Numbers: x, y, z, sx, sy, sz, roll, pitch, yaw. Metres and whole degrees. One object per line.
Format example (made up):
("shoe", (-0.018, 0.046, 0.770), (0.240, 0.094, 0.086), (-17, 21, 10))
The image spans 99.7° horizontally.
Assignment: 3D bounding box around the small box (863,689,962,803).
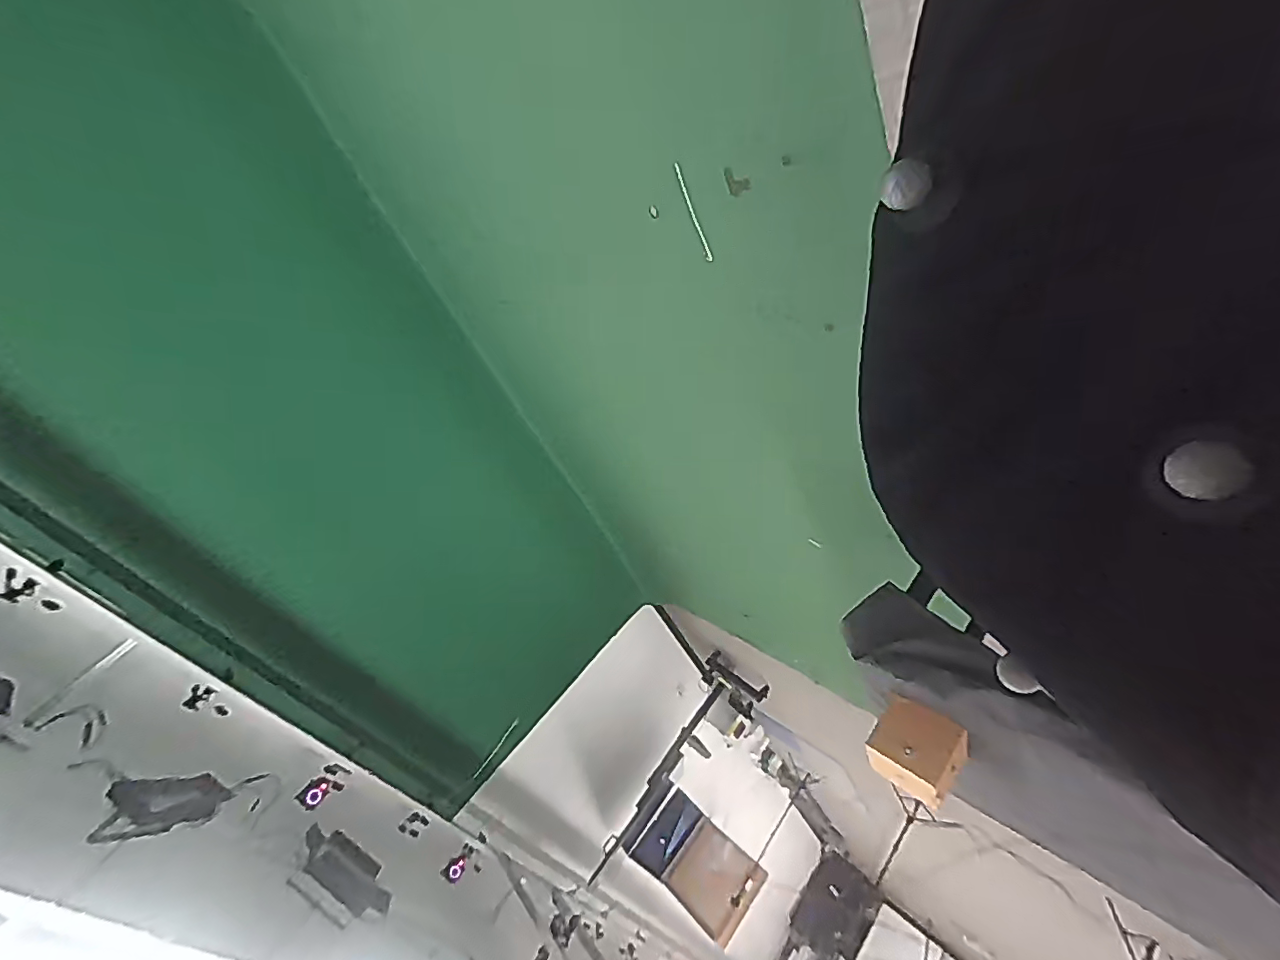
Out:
("small box", (0.703, 0.674, 1.386), (0.179, 0.176, 0.168), (22, 148, 45))
